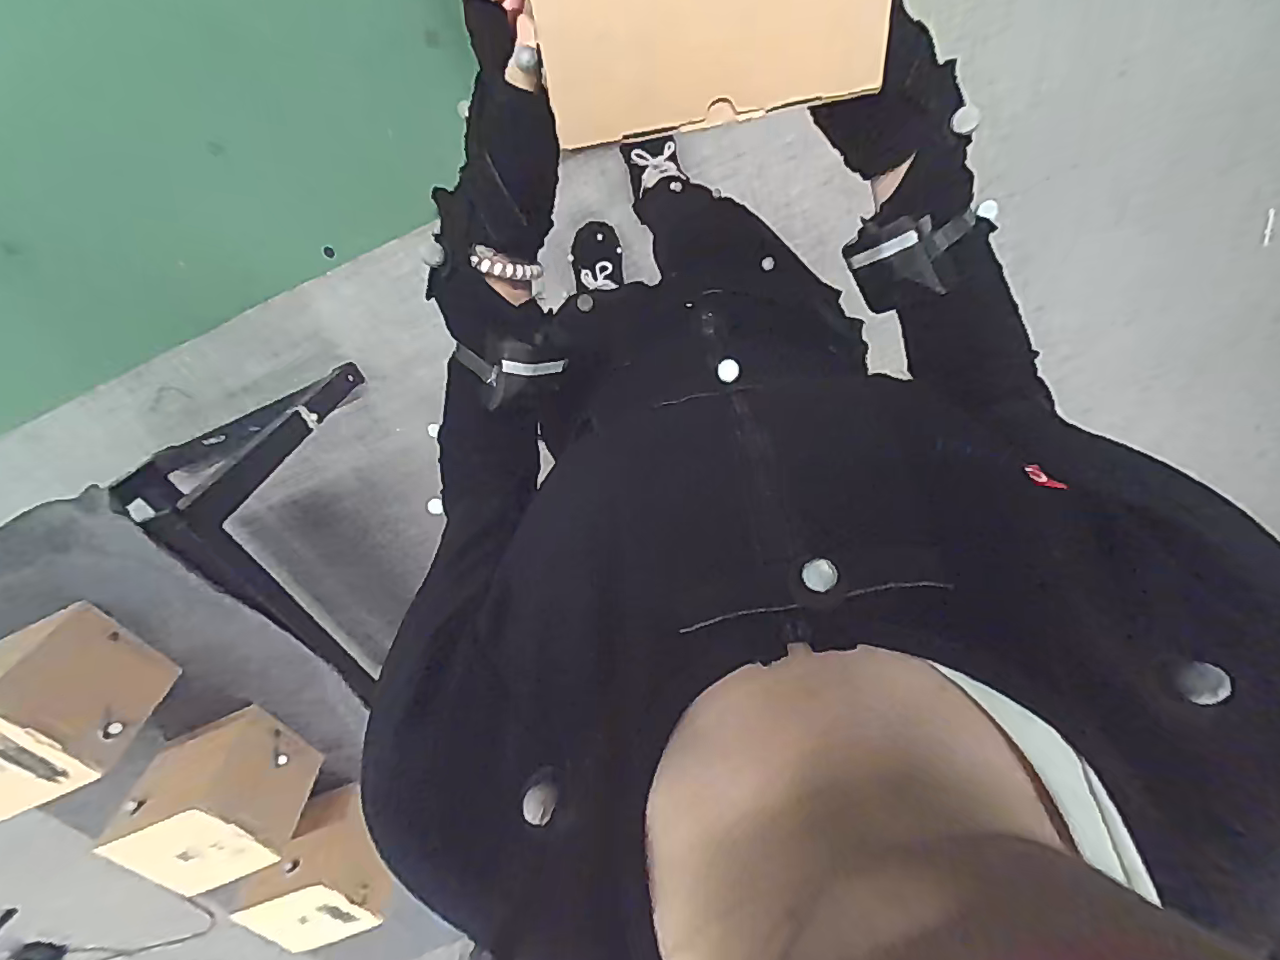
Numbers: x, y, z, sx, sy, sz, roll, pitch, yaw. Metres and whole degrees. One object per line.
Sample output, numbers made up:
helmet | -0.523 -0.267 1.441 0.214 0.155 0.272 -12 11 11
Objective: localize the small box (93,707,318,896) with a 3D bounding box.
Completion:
small box | -0.648 0.490 0.835 0.179 0.176 0.168 -24 120 5

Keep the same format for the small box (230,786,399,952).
small box | -0.554 0.679 0.956 0.179 0.176 0.168 -22 119 5

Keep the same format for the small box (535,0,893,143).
small box | 0.020 -0.300 0.279 0.168 0.176 0.179 -11 131 0
